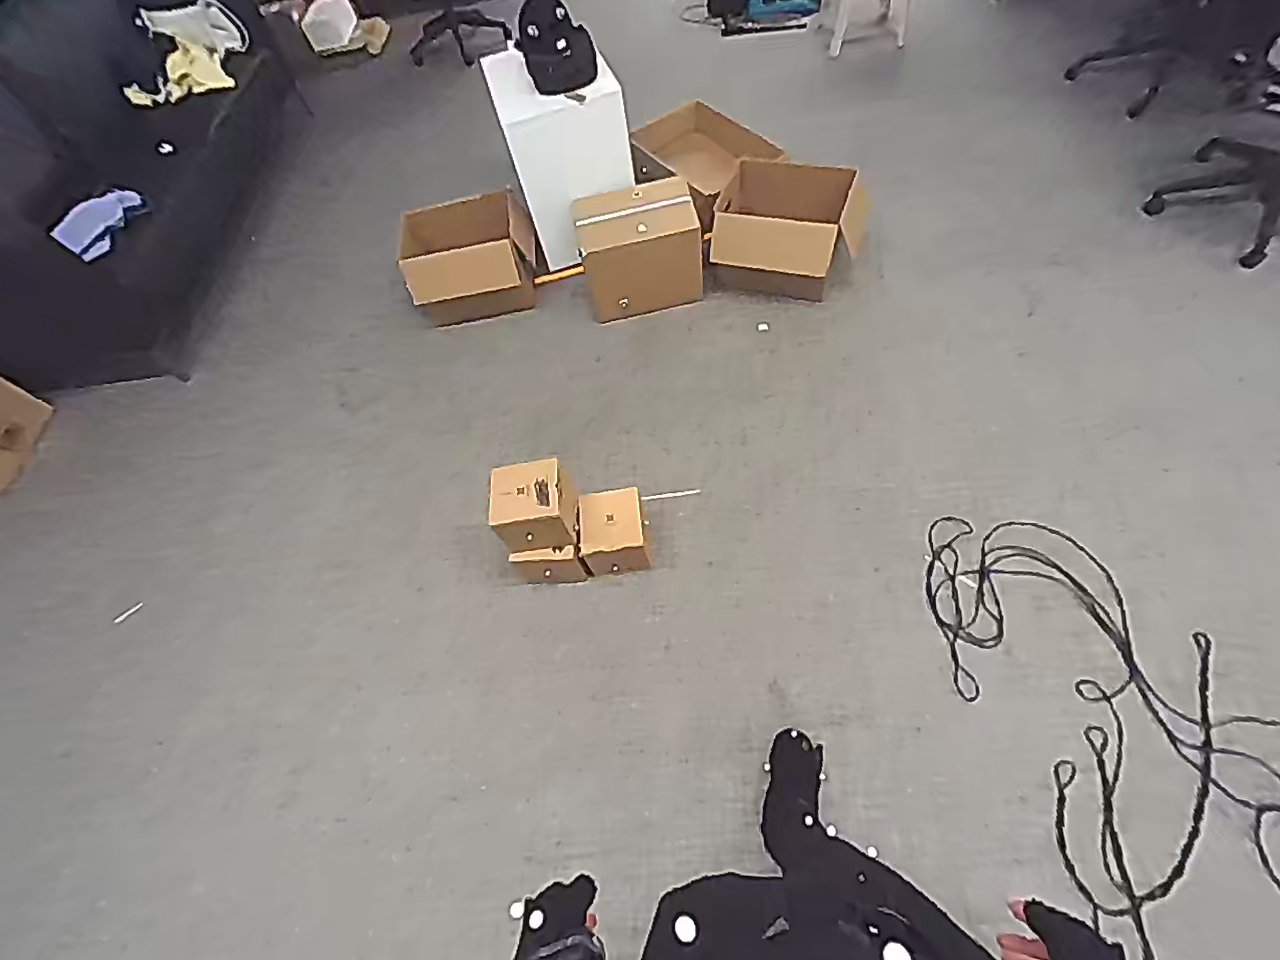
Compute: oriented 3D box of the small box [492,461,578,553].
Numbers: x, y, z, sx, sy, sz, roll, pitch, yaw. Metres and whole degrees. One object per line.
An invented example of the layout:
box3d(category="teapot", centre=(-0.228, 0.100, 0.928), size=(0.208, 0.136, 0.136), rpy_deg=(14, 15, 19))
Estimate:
box3d(category="small box", centre=(-0.259, 0.073, 1.379), size=(0.179, 0.176, 0.168), rpy_deg=(-9, 58, 6))
